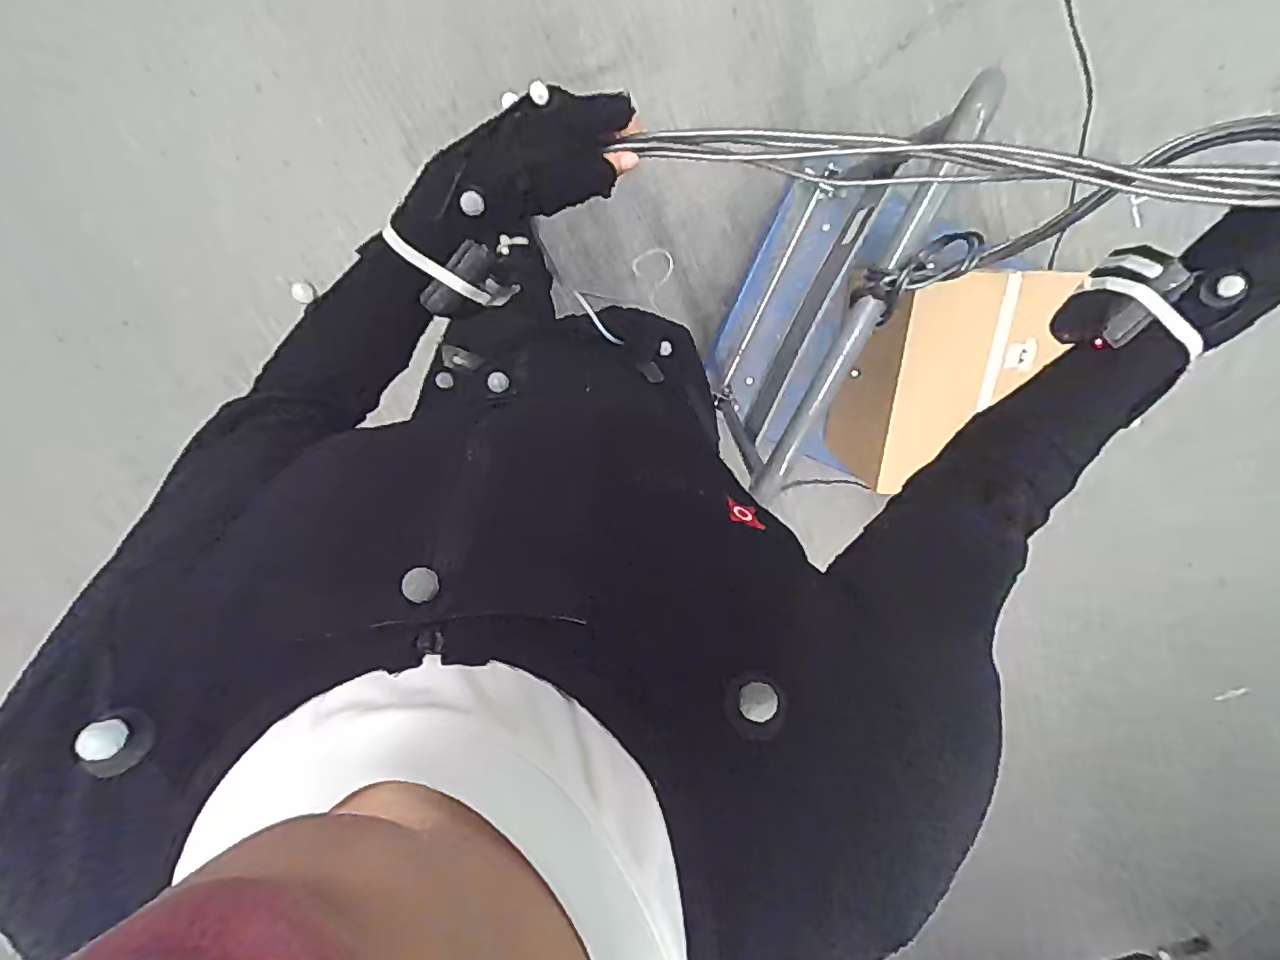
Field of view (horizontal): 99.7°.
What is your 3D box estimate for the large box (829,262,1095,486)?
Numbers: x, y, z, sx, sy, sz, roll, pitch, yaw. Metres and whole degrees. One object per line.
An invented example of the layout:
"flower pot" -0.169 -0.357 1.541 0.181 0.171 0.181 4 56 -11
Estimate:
"large box" 0.609 -0.227 1.112 0.320 0.320 0.408 1 112 -1
